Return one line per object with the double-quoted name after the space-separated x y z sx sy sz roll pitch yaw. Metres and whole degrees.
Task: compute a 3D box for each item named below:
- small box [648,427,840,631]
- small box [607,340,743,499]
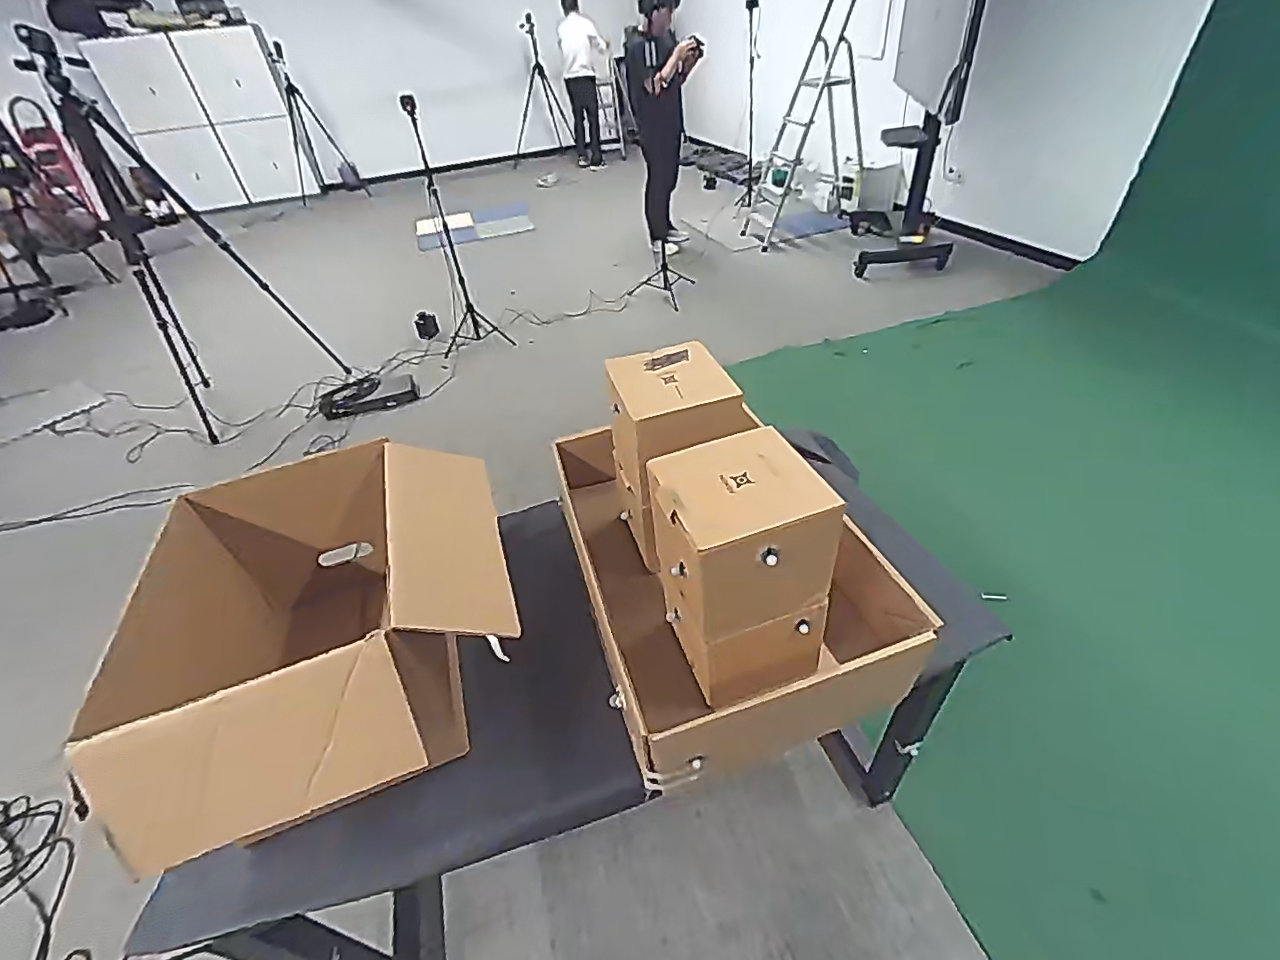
0.122 0.062 0.682 0.179 0.176 0.168 -16 42 -11 "small box"
0.051 -0.098 0.867 0.168 0.176 0.179 -14 44 -9 "small box"
